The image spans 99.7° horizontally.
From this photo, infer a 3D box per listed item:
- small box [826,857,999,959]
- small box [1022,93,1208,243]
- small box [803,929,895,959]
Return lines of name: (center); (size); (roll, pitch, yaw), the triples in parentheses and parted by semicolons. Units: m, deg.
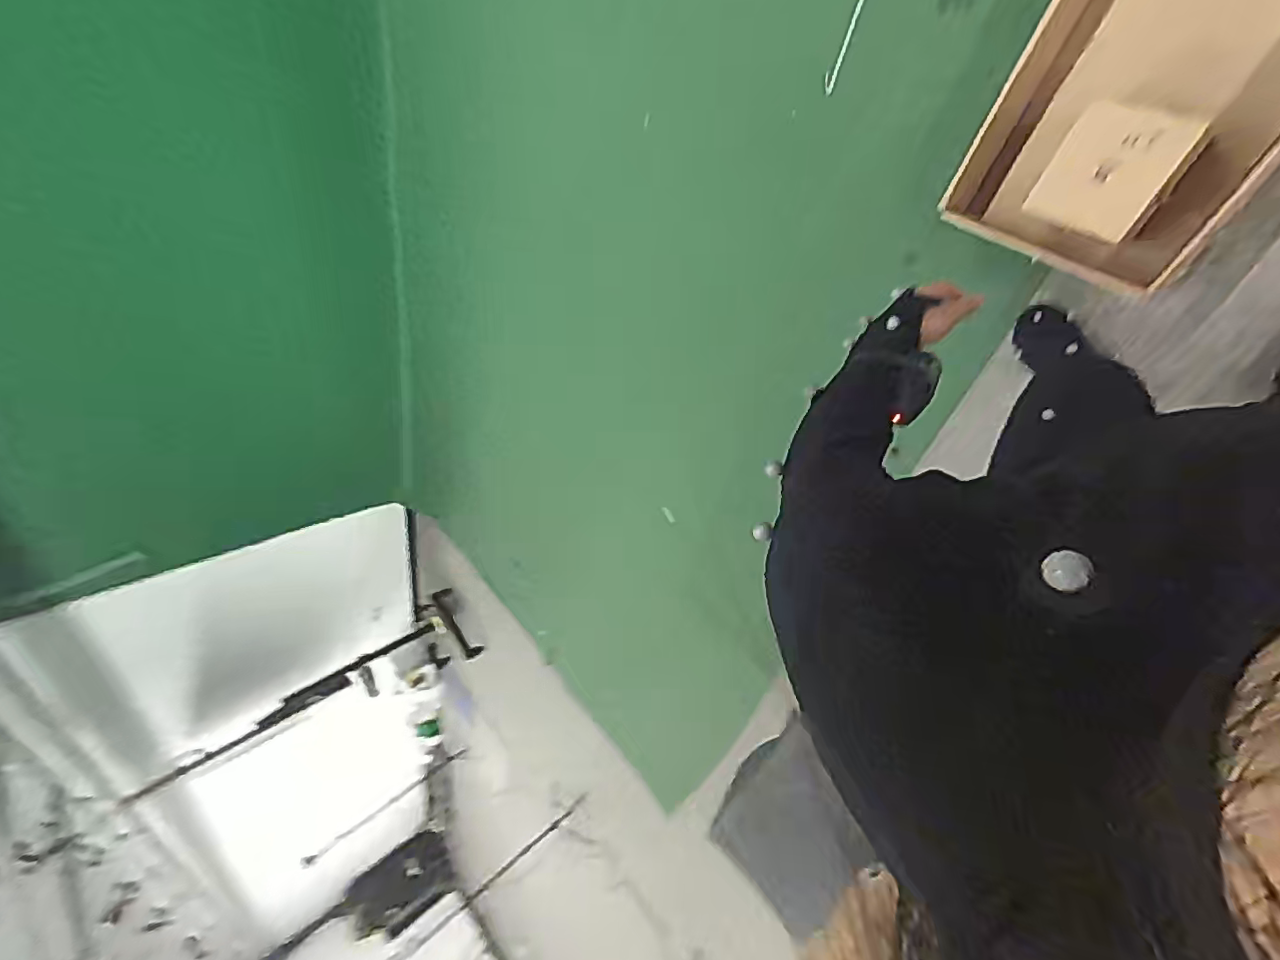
small box: (0.433, 0.766, 0.874); (0.179, 0.176, 0.168); (44, 135, 26)
small box: (0.808, -0.524, 0.923); (0.168, 0.176, 0.179); (41, 132, 26)
small box: (0.313, 0.796, 0.764); (0.179, 0.176, 0.168); (46, 136, 23)
